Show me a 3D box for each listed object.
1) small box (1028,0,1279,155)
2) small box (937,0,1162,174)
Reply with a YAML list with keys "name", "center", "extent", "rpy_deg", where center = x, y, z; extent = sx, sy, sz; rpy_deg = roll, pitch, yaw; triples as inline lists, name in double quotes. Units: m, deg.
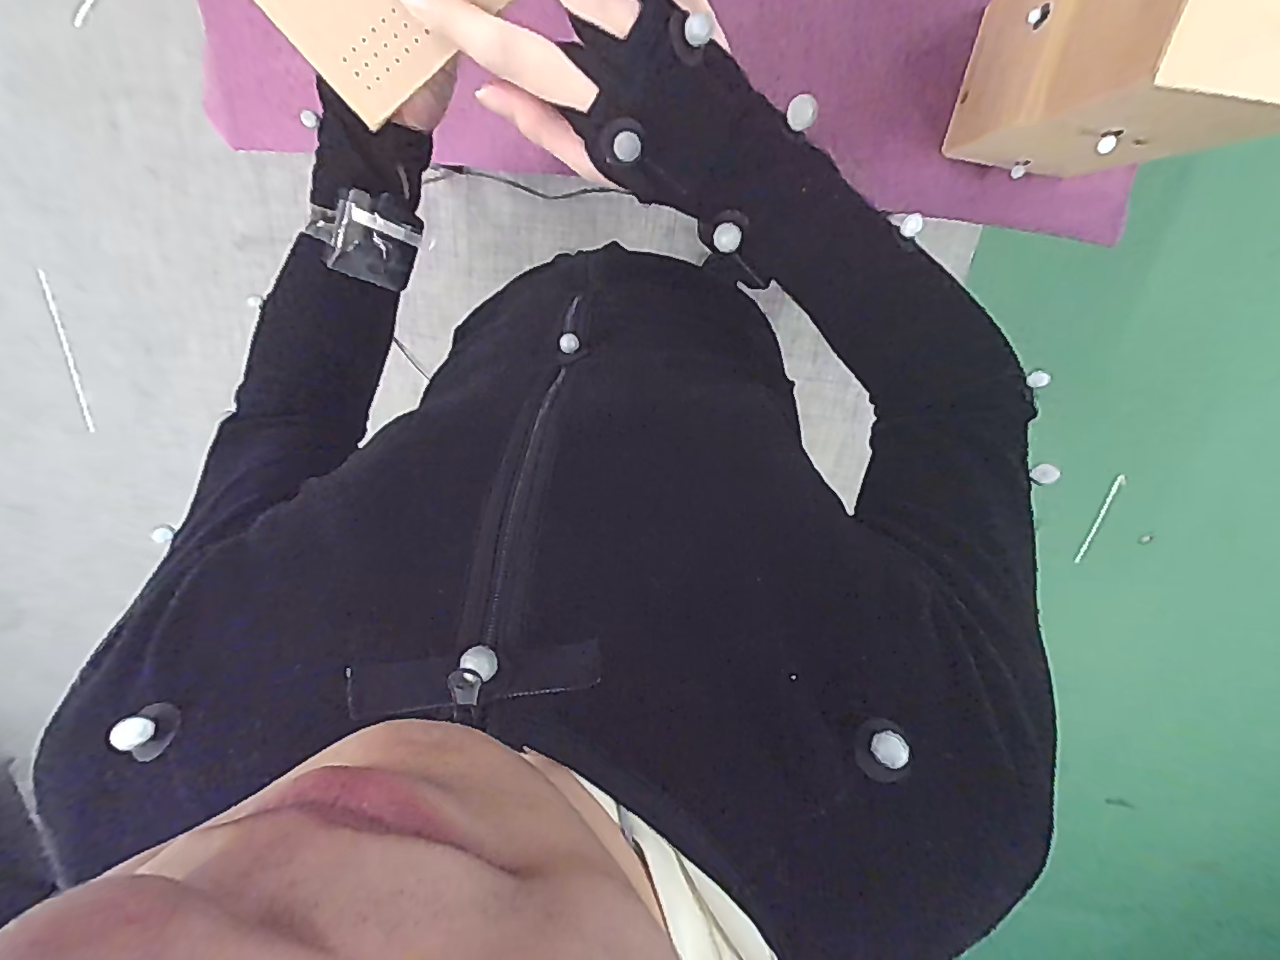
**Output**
- name: "small box"
  center: [0.483, -0.403, 0.460]
  extent: [0.168, 0.176, 0.179]
  rpy_deg: [10, 113, -1]
- name: "small box"
  center: [0.484, -0.461, 0.612]
  extent: [0.179, 0.176, 0.168]
  rpy_deg: [9, 111, -2]
